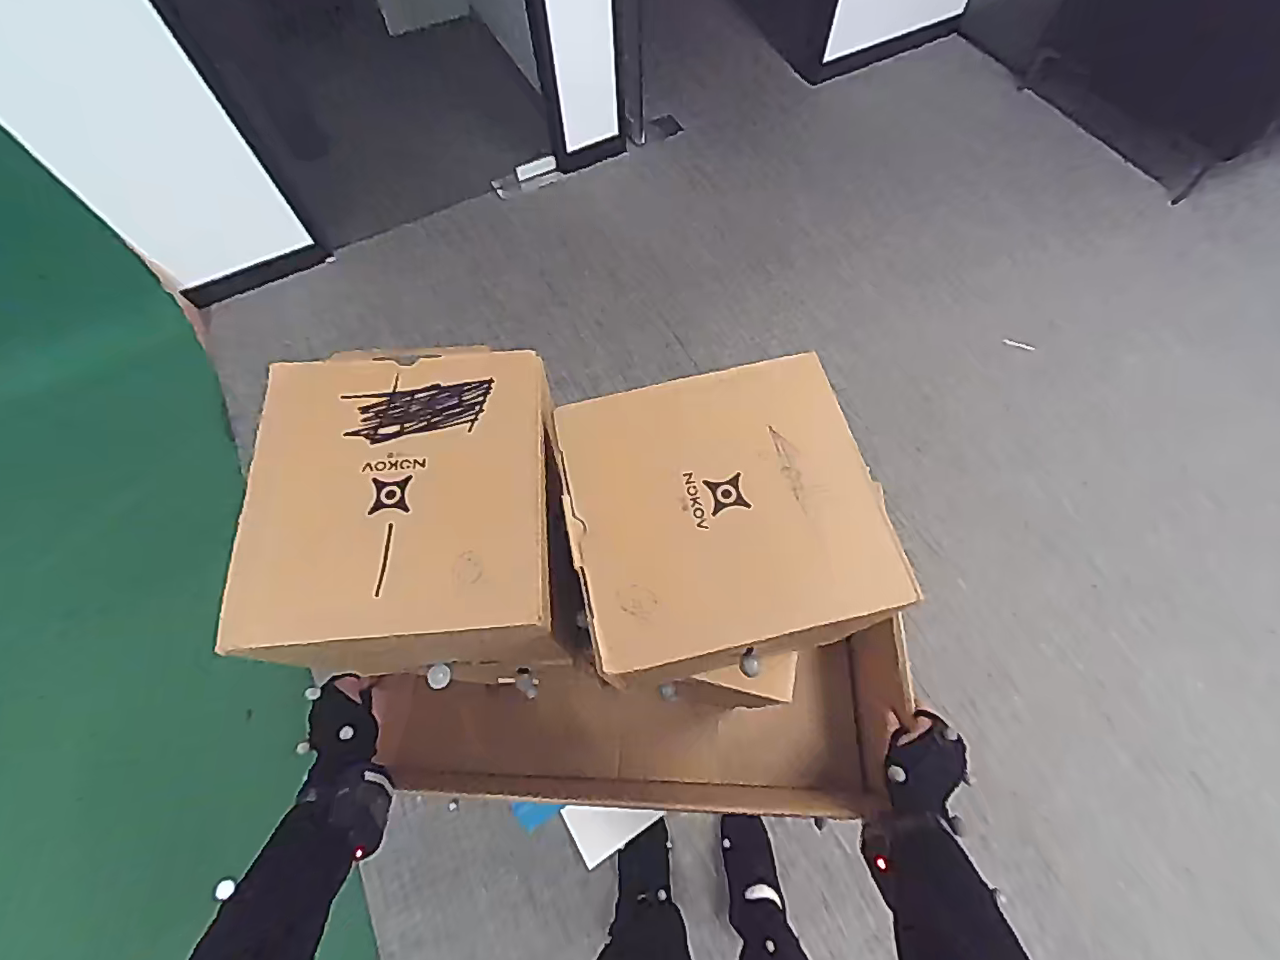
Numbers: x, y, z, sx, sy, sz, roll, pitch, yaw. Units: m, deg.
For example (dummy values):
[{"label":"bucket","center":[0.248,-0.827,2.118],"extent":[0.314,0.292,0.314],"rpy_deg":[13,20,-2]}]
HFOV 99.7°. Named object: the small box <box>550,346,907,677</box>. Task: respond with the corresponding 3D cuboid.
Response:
[{"label":"small box","center":[0.047,0.036,0.387],"extent":[0.179,0.176,0.168],"rpy_deg":[-12,66,-2]}]
